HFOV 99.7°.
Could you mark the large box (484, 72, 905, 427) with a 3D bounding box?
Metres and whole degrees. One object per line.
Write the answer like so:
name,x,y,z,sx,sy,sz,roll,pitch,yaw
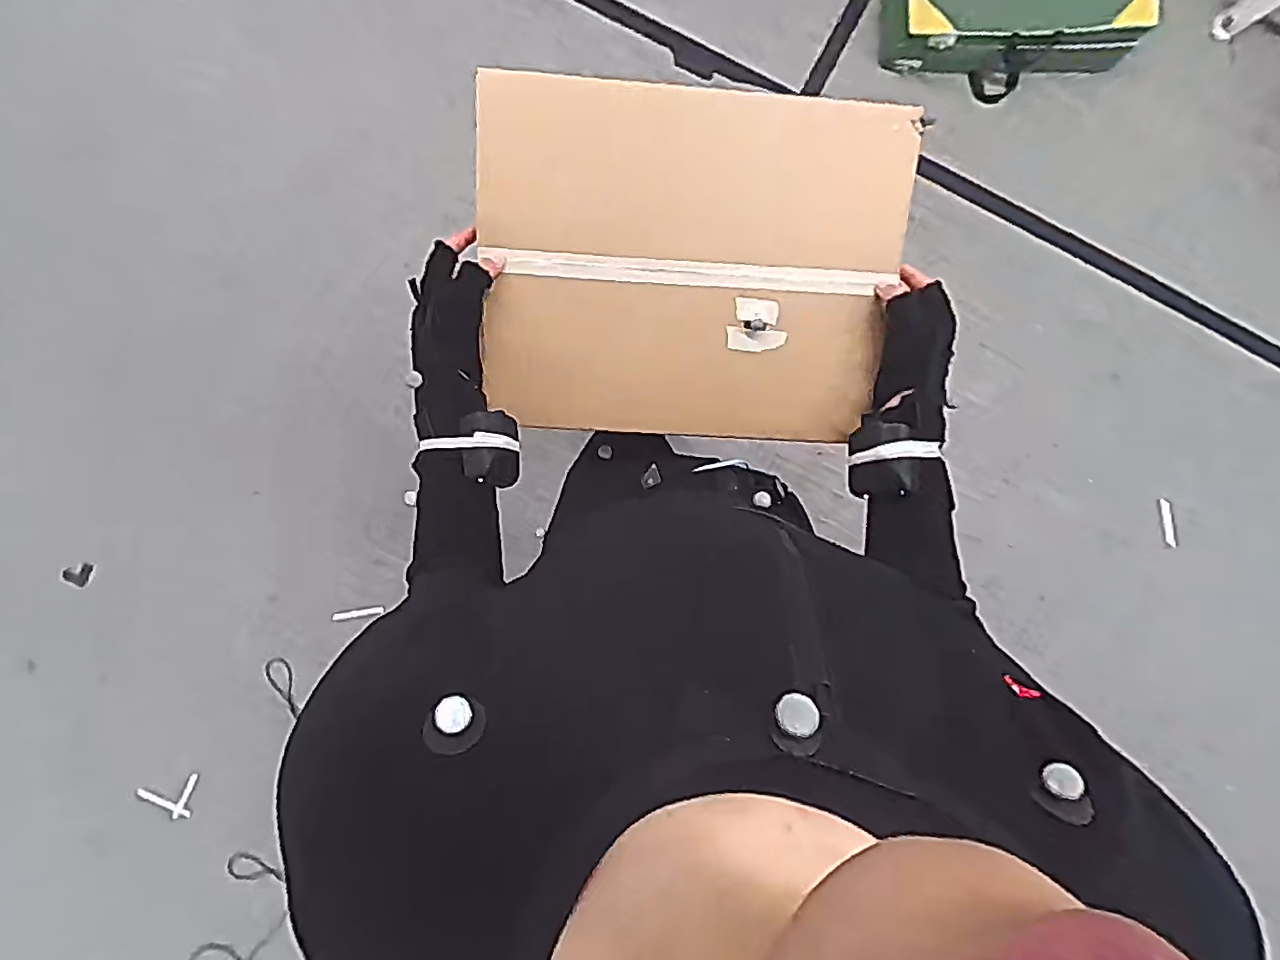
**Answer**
large box,0.039,-0.247,0.679,0.408,0.320,0.320,3,104,-4
